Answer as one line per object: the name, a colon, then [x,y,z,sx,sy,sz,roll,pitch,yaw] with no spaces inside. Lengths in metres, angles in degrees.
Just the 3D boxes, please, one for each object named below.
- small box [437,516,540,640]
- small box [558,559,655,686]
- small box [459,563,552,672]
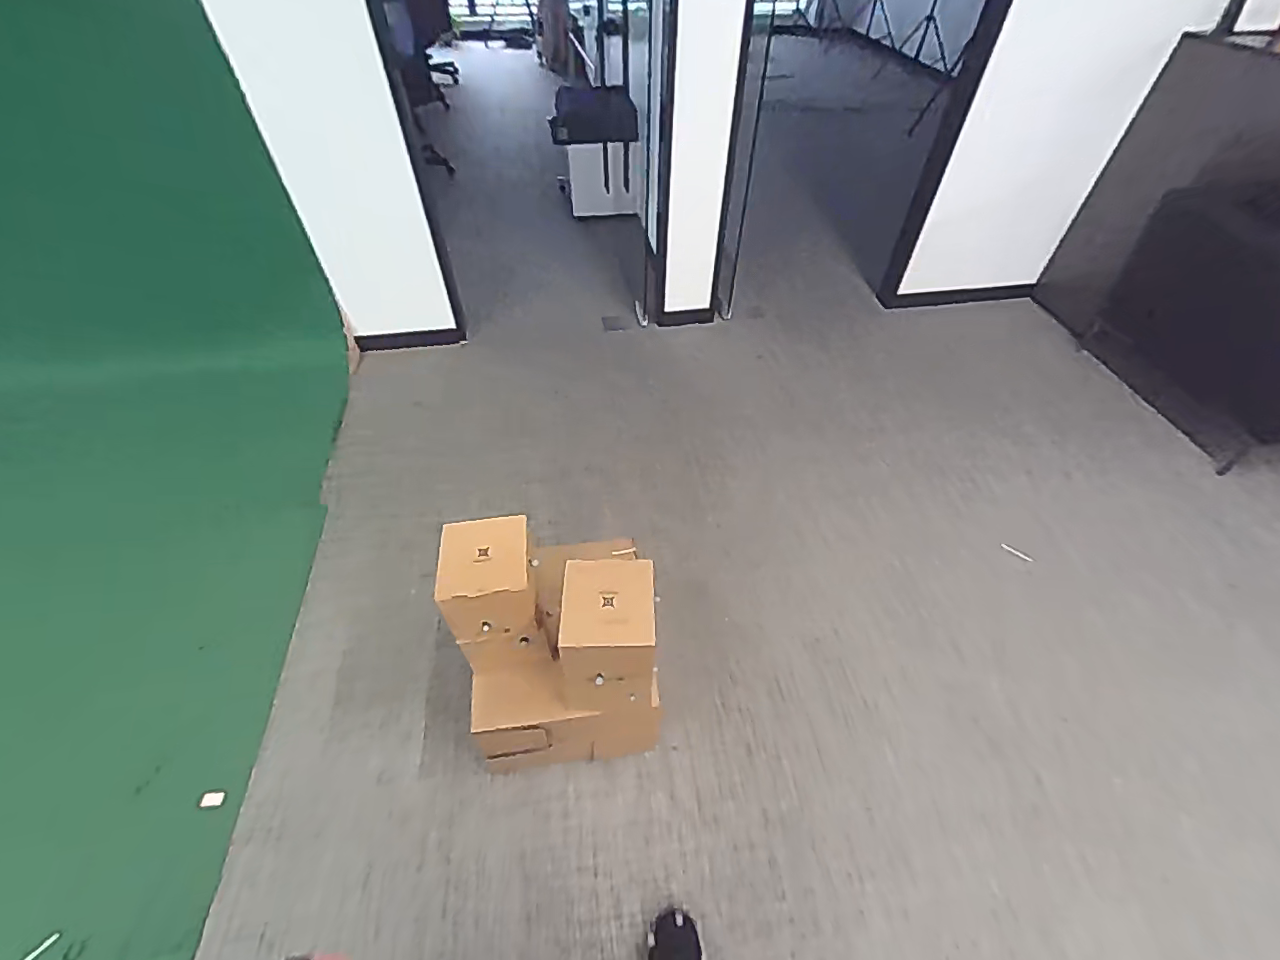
small box: [-0.294,0.197,1.085,0.168,0.176,0.179,-6,48,-5]
small box: [-0.057,0.268,1.018,0.168,0.176,0.179,0,48,-1]
small box: [-0.292,0.308,1.205,0.179,0.176,0.168,-7,47,-7]
